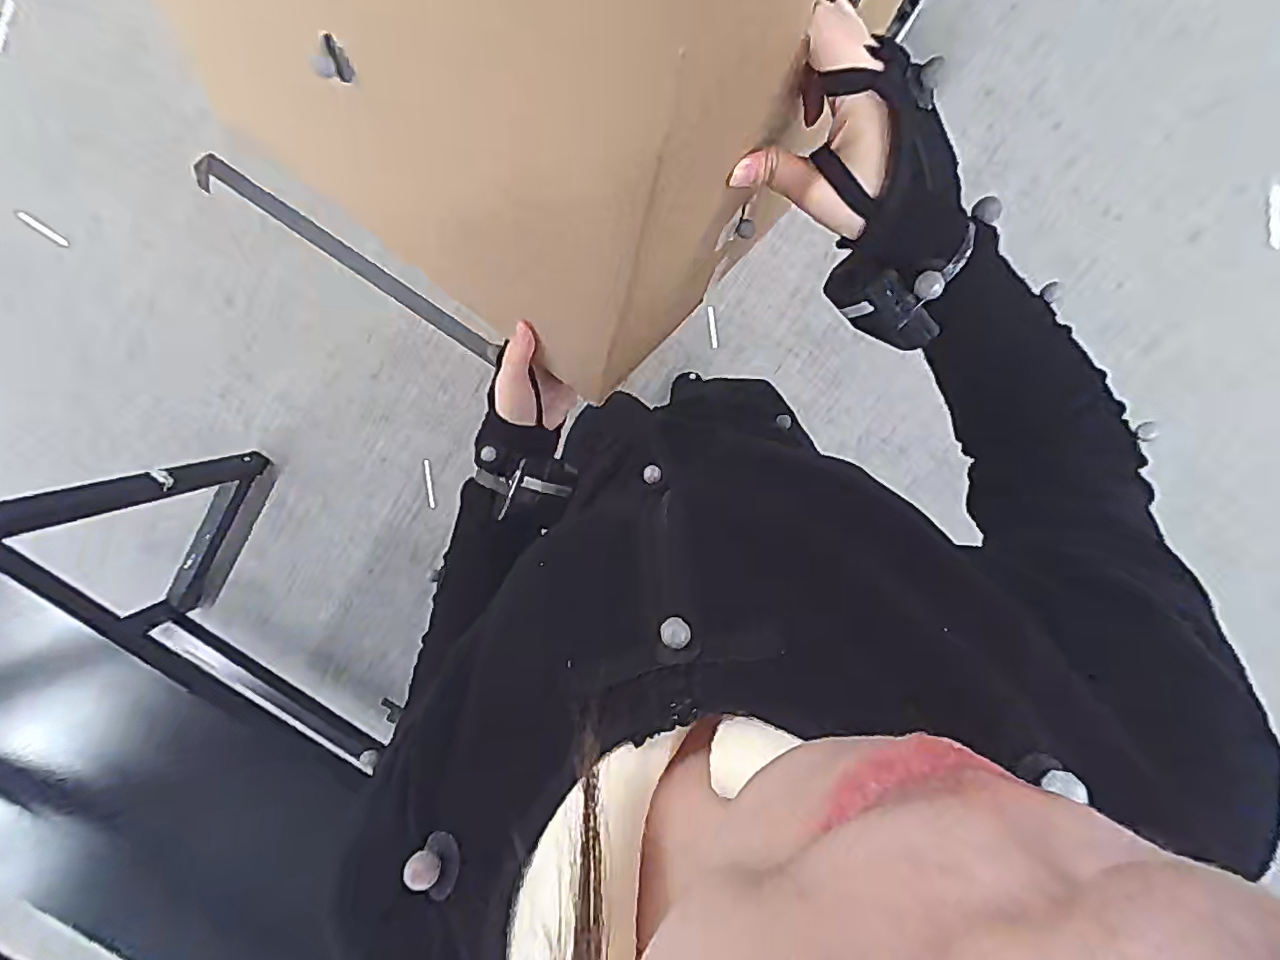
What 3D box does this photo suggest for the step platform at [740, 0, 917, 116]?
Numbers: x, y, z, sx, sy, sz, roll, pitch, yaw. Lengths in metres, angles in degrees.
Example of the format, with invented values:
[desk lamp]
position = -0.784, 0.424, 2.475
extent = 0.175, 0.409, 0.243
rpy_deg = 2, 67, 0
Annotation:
[step platform]
position = 0.264, -1.144, 1.150
extent = 0.684, 0.204, 0.286
rpy_deg = 40, 102, -2
